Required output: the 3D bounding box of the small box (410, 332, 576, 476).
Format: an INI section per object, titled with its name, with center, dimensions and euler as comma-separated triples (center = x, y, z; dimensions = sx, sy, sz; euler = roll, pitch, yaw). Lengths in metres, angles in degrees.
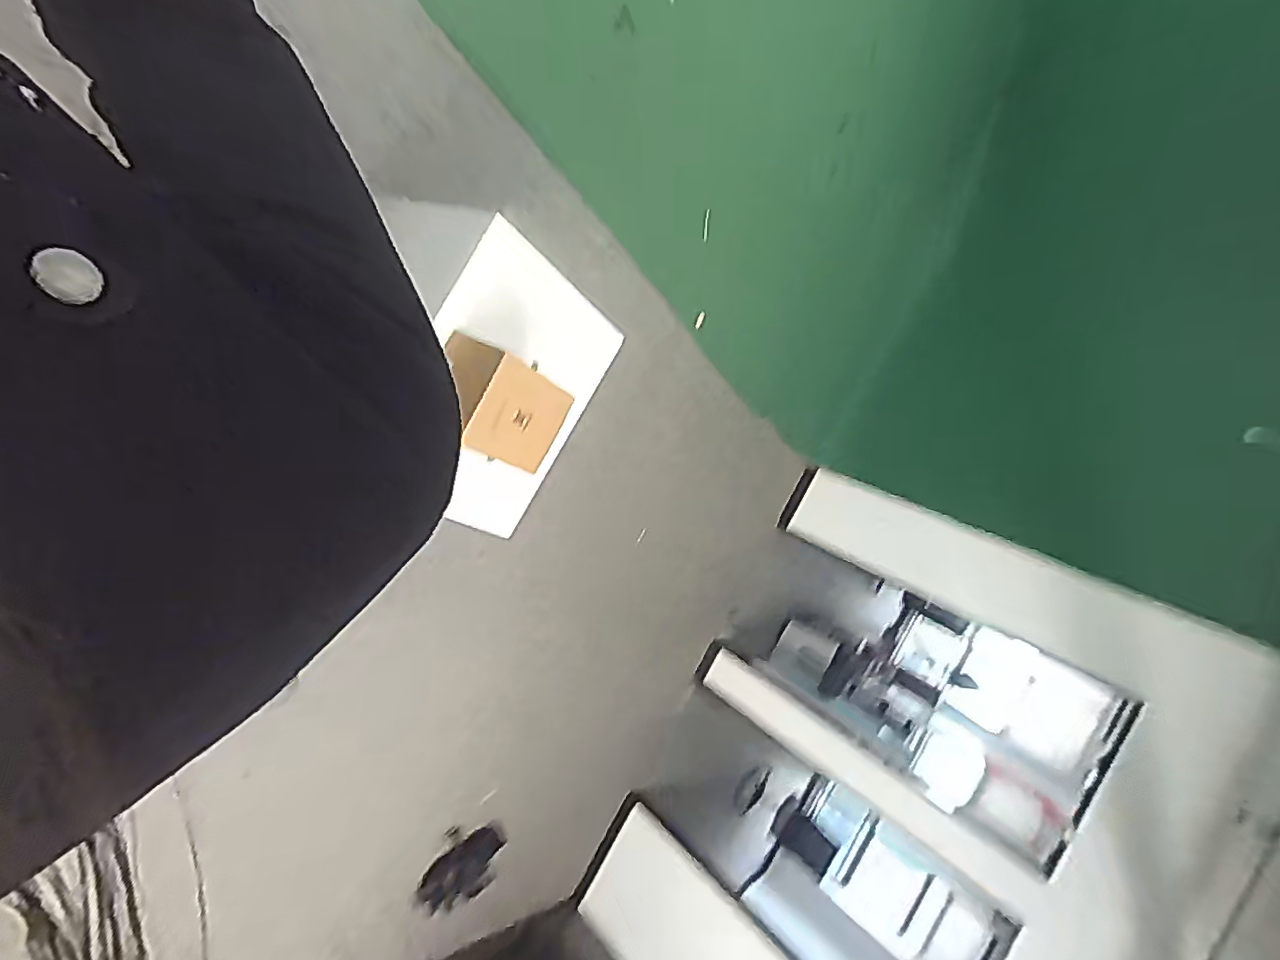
[small box]
center = -0.251, -0.131, 0.922
dimensions = 0.179, 0.176, 0.168
euler = 27, 90, -52
